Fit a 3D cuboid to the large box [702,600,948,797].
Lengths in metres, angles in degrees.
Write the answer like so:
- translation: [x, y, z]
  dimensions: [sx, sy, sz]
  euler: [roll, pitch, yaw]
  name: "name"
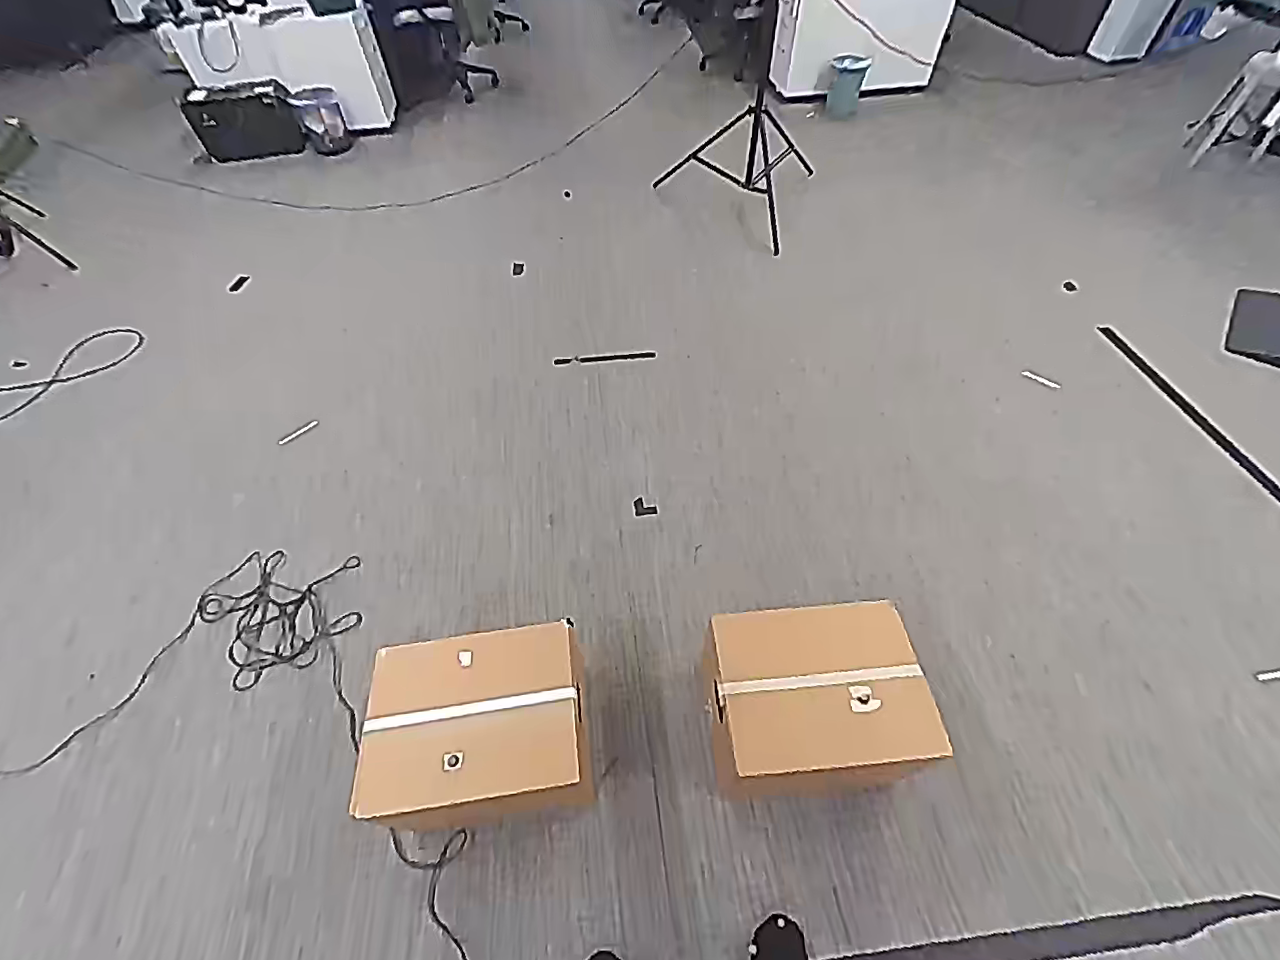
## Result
- translation: [0.368, 0.491, 1.205]
  dimensions: [0.408, 0.320, 0.320]
  euler: [-4, 53, -2]
  name: "large box"
